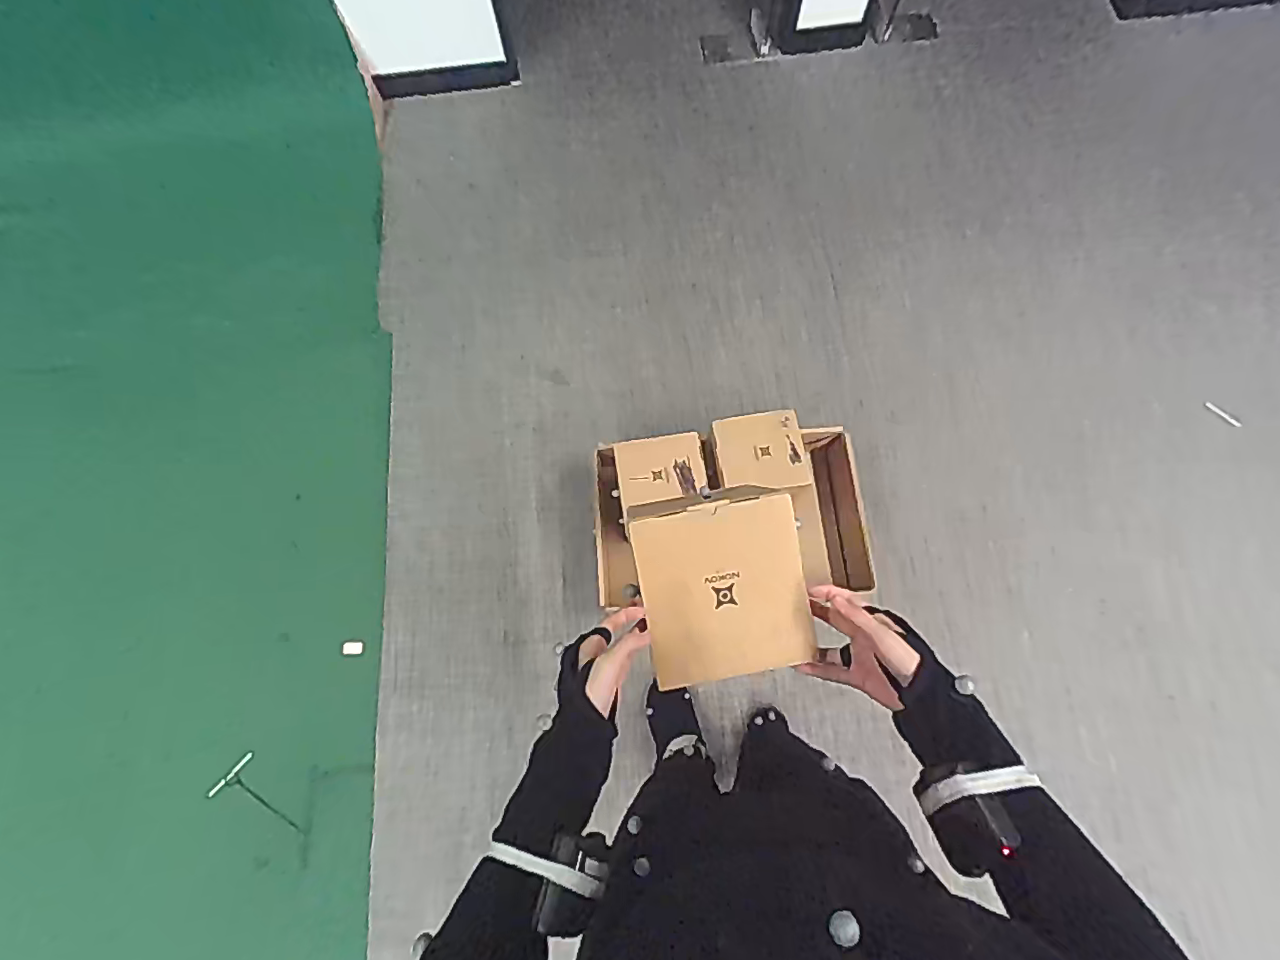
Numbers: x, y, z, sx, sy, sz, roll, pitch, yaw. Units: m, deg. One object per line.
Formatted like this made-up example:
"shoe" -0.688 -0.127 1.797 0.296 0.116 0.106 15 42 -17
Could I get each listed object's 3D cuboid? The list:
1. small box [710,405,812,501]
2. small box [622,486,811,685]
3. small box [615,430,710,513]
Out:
"small box" 0.247 -0.041 1.153 0.179 0.176 0.168 -10 74 2
"small box" 0.078 0.105 0.615 0.168 0.176 0.179 -11 90 0
"small box" 0.046 0.007 1.147 0.179 0.176 0.168 -9 75 0
